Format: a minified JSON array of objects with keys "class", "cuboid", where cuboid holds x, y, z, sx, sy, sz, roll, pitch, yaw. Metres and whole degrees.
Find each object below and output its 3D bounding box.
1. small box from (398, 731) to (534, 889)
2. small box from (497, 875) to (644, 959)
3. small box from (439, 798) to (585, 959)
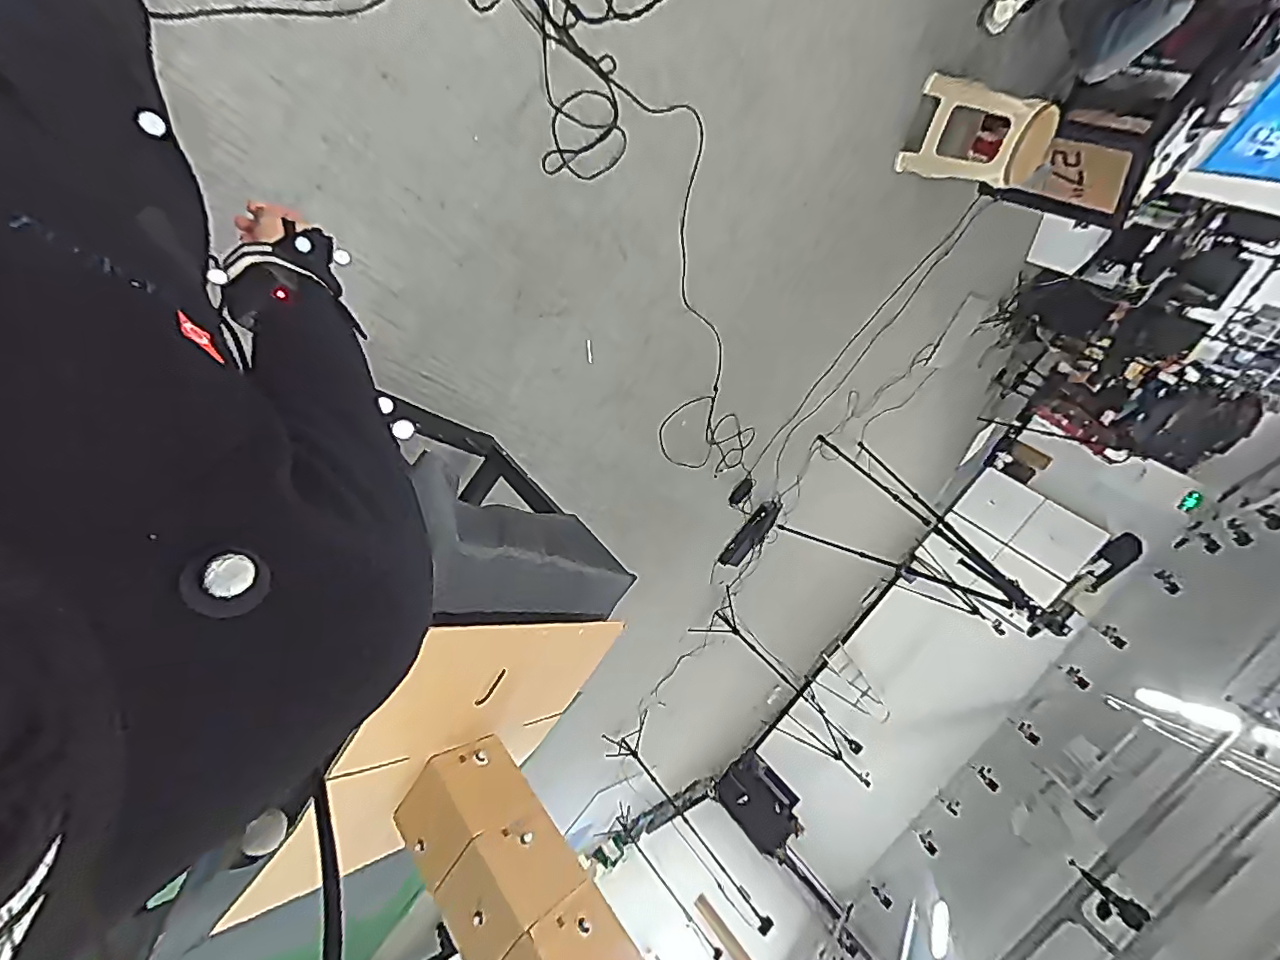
[{"class":"small box","cuboid":[-0.350,0.640,1.072,0.168,0.176,0.179,8,118,-57]},{"class":"small box","cuboid":[-0.133,0.834,0.922,0.168,0.176,0.179,6,120,-57]},{"class":"small box","cuboid":[-0.241,0.737,0.995,0.168,0.176,0.179,7,119,-57]}]
